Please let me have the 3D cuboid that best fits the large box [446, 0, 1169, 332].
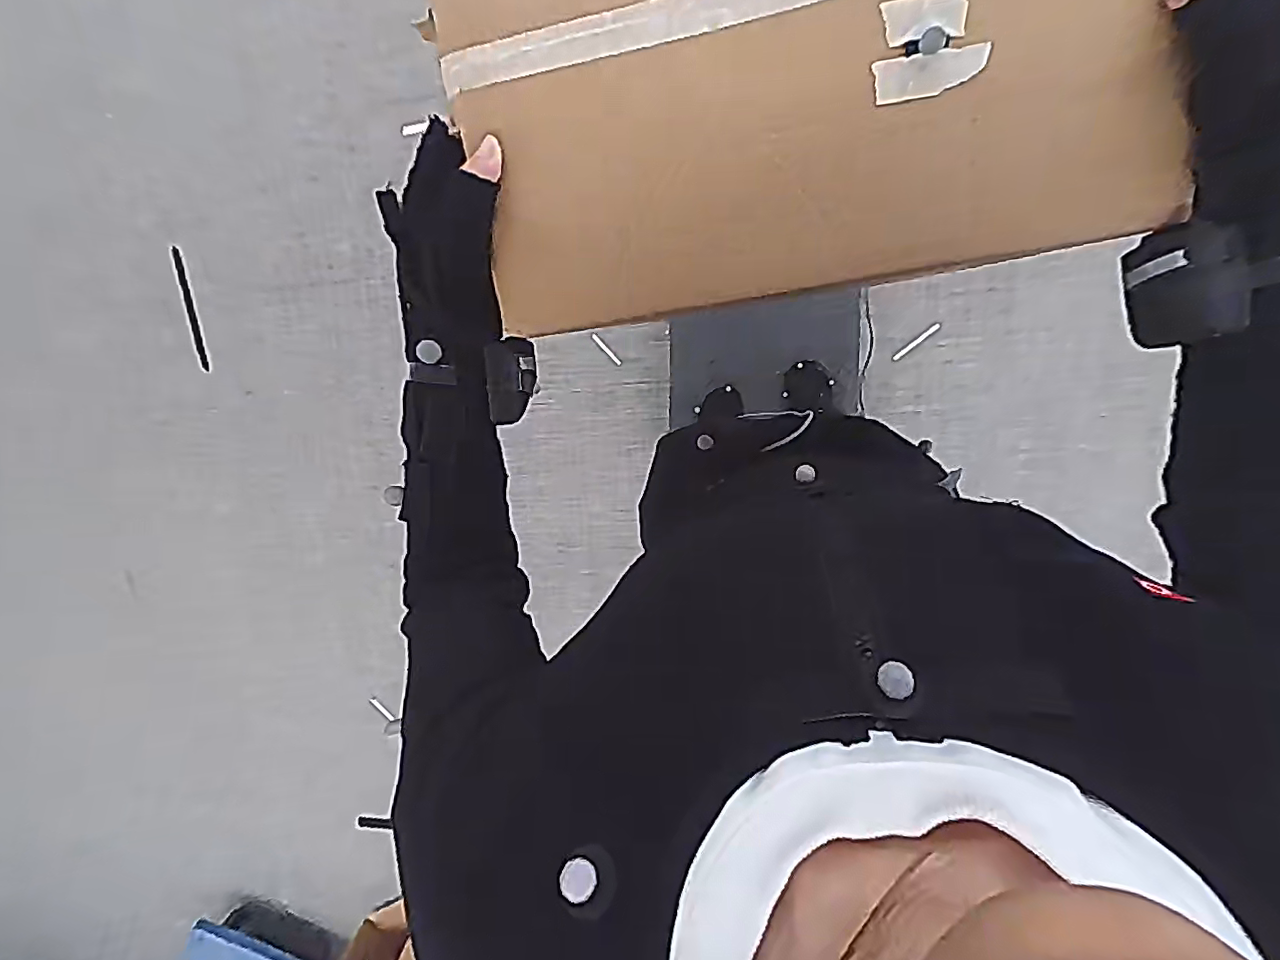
[{"bbox_3d":[0.098,-0.316,0.452,0.408,0.320,0.320,-7,106,9],"label":"large box"}]
